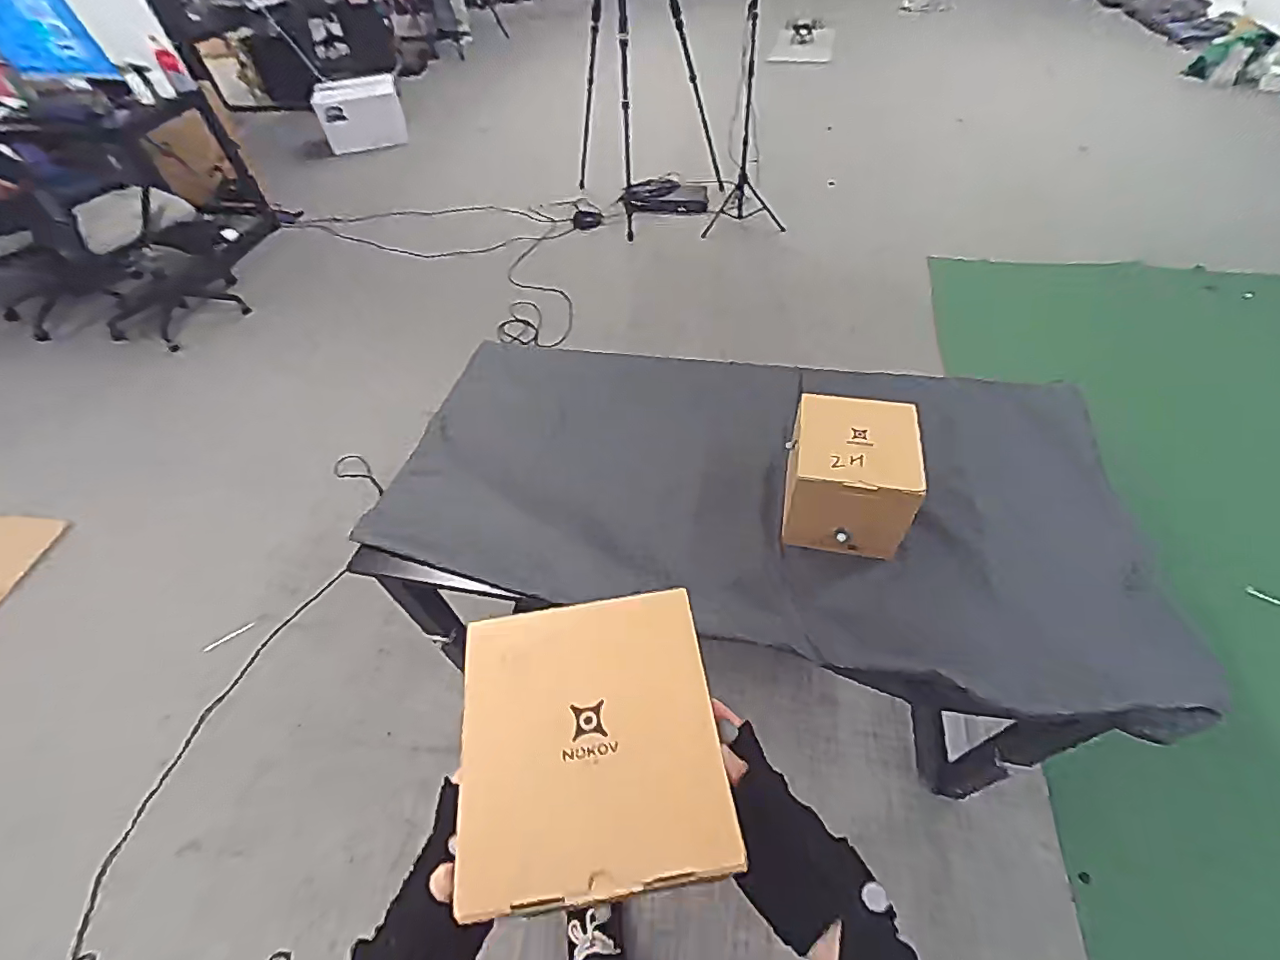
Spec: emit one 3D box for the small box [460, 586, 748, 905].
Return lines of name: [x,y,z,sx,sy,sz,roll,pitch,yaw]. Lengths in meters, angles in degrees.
small box: [-0.028,0.206,0.416,0.168,0.176,0.179,-8,53,-4]

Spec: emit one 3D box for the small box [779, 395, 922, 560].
small box: [0.313,-0.004,0.835,0.168,0.176,0.179,8,52,10]
